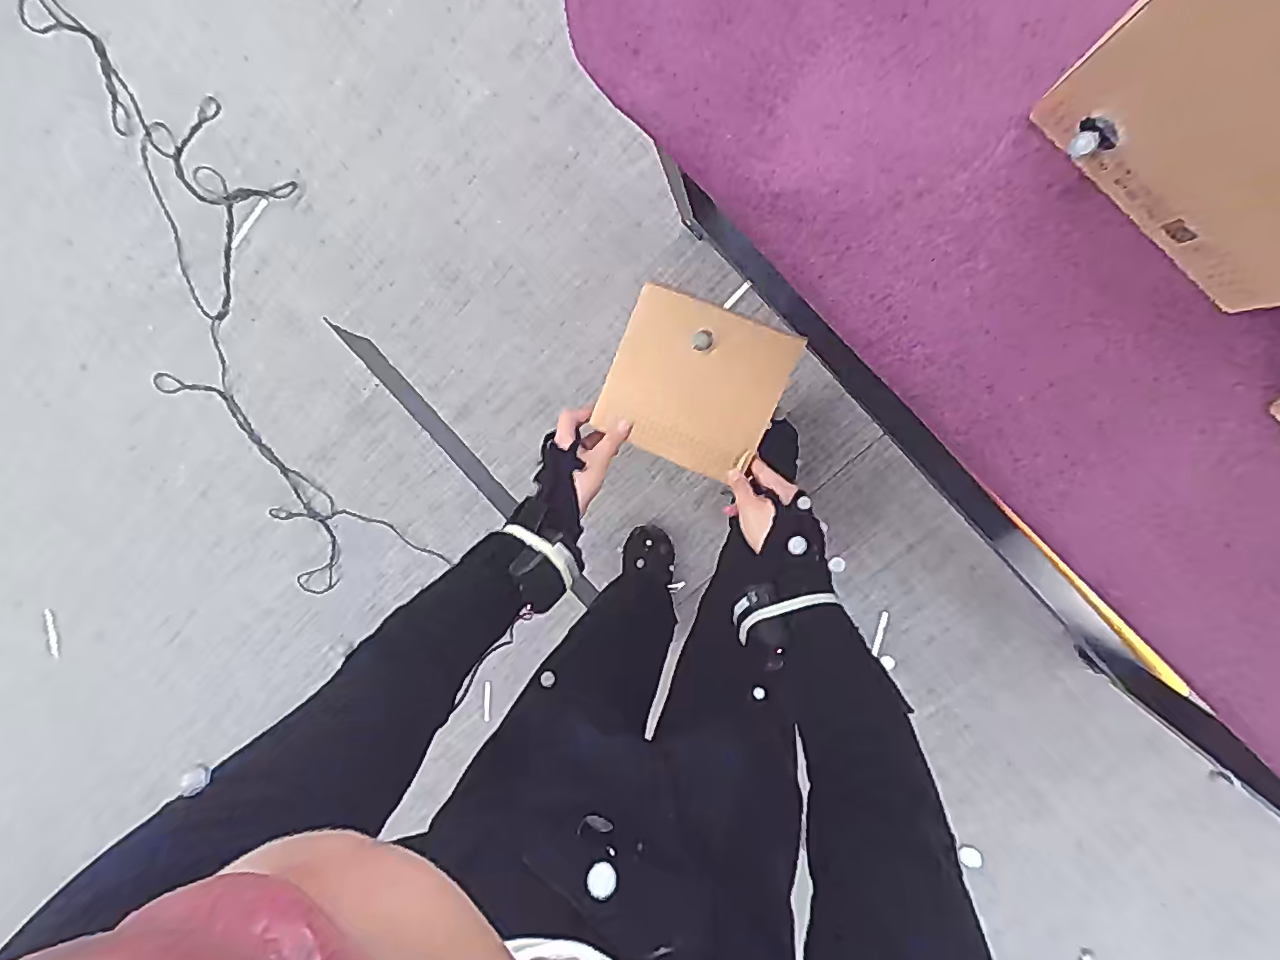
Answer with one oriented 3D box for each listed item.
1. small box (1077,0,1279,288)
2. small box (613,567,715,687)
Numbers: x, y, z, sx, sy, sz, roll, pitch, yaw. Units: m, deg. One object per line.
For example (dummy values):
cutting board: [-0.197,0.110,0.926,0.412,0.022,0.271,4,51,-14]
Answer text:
small box: [0.329,-0.204,0.212,0.168,0.176,0.179,45,103,0]
small box: [0.046,0.287,1.083,0.179,0.176,0.168,12,97,4]
